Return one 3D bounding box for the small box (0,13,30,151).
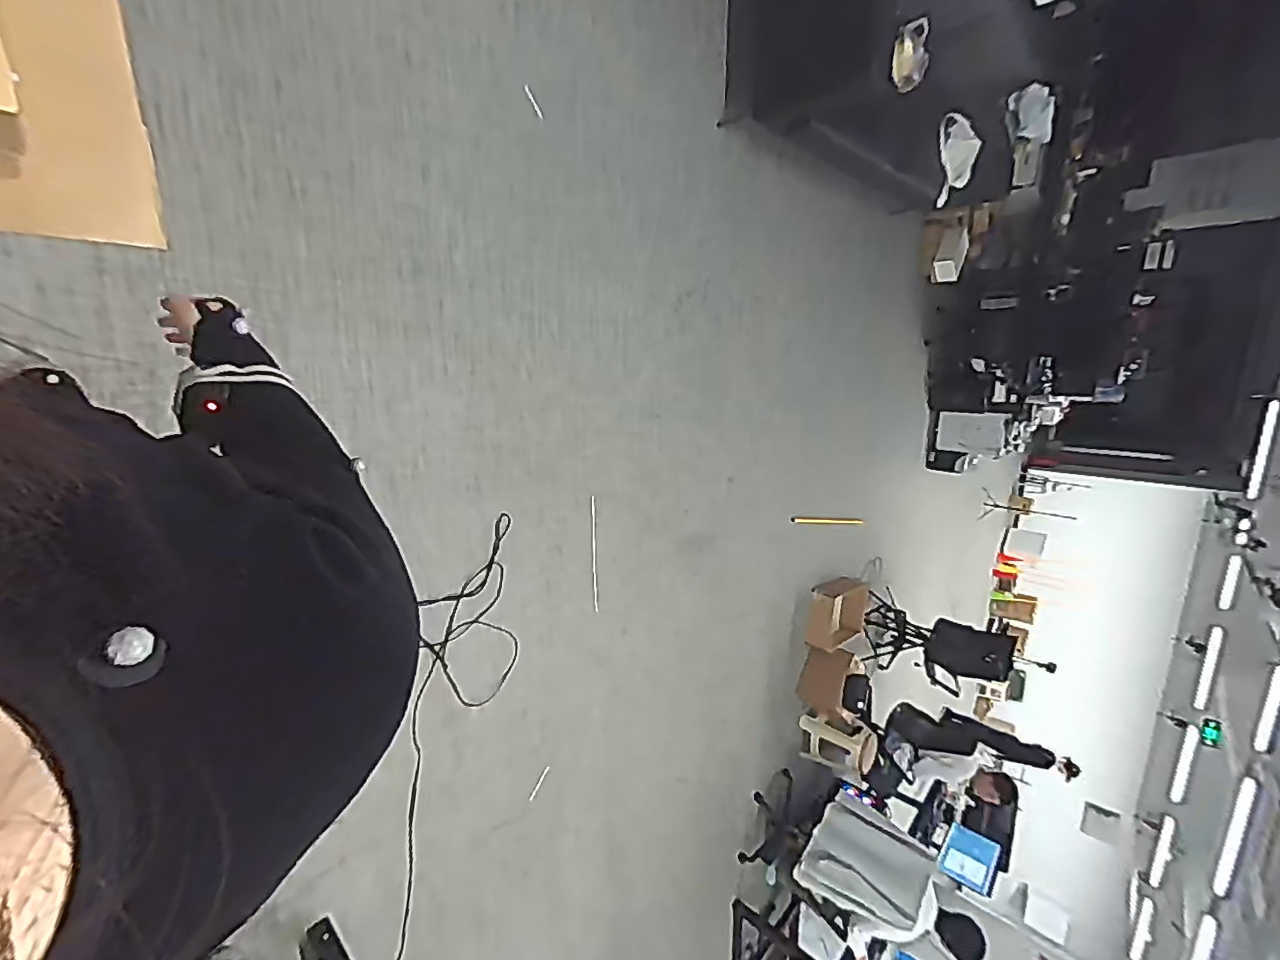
[{"bbox_3d":[-0.634,-0.391,0.432,0.168,0.176,0.179,-15,110,-43],"label":"small box"}]
